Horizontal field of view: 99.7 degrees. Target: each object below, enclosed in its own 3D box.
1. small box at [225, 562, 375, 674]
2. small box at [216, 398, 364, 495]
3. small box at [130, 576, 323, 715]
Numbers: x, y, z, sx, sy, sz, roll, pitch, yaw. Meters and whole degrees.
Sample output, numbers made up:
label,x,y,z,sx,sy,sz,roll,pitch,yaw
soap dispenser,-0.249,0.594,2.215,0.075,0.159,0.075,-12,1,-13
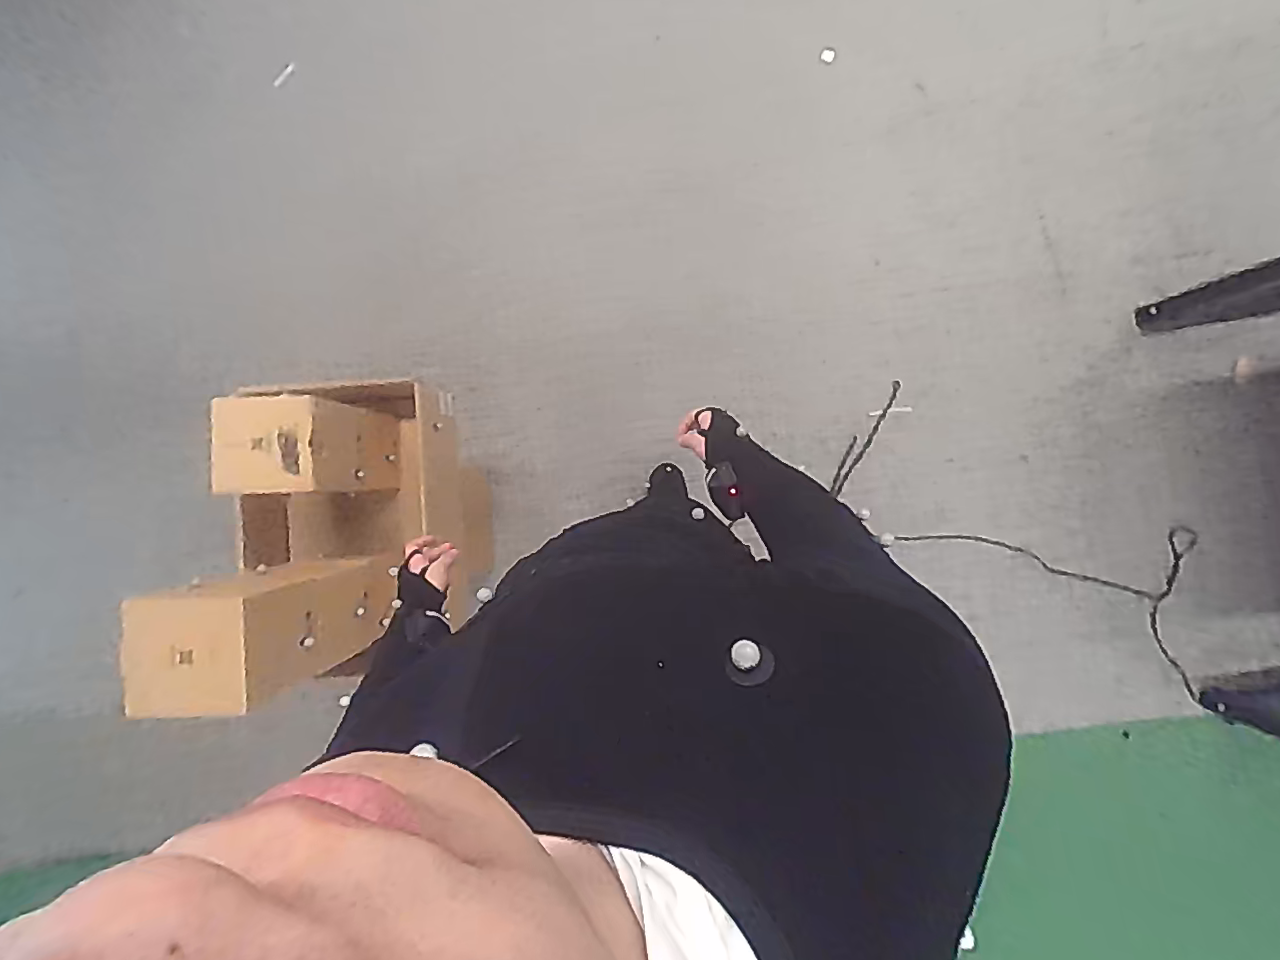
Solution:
label,x,y,z,sx,sy,sz,roll,pitch,yaw
small box,-0.618,0.247,0.996,0.179,0.176,0.168,-1,90,2
small box,-0.634,-0.058,1.000,0.179,0.176,0.168,-2,89,2
small box,-0.625,0.245,0.834,0.179,0.176,0.168,-2,90,2
